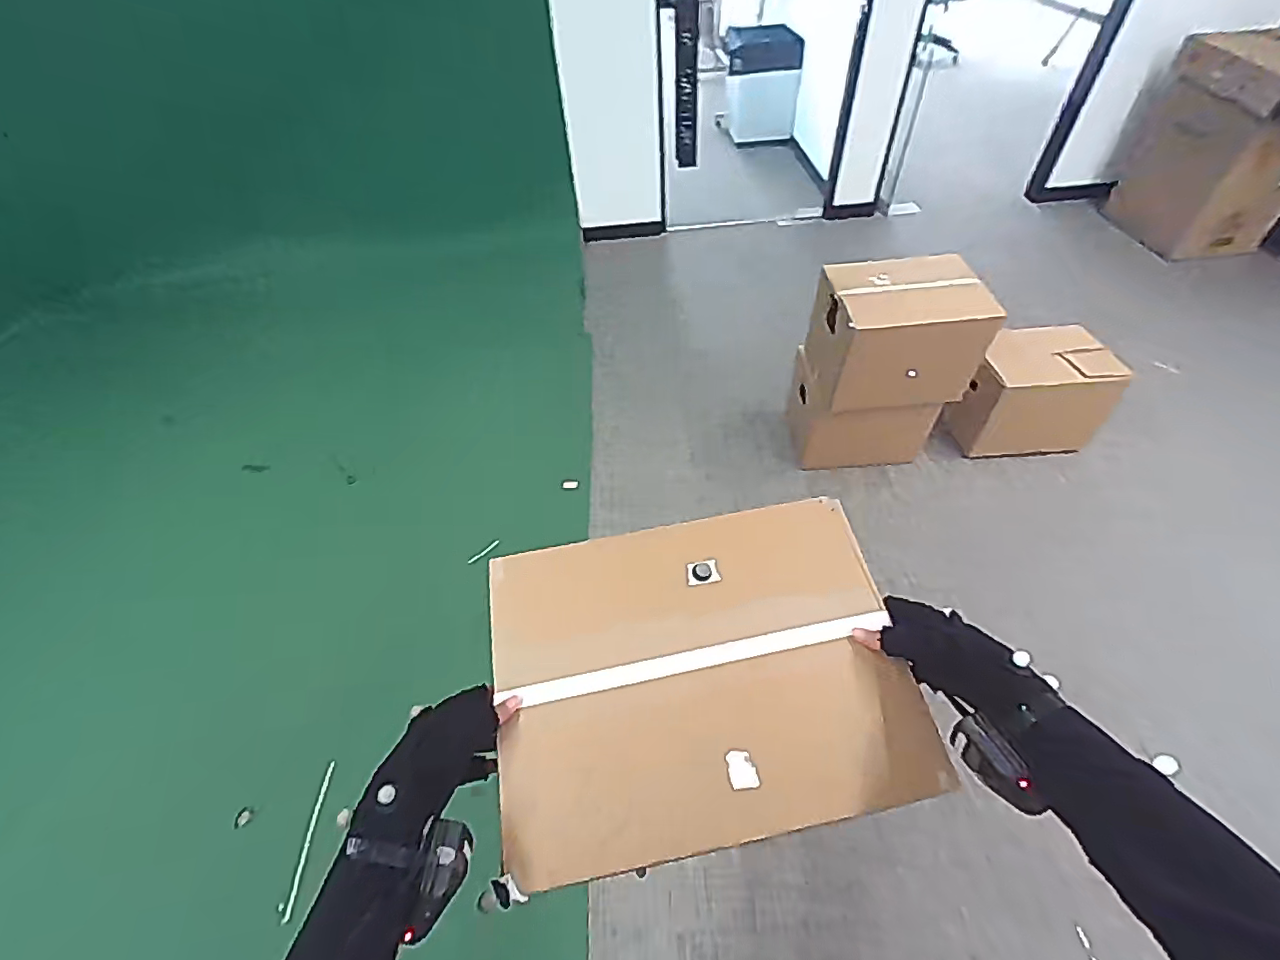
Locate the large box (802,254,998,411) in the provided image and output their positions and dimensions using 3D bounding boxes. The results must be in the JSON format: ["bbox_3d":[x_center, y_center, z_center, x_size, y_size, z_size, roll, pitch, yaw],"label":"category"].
[{"bbox_3d":[0.743,-0.437,1.623,0.408,0.320,0.320,-6,52,1],"label":"large box"}]
